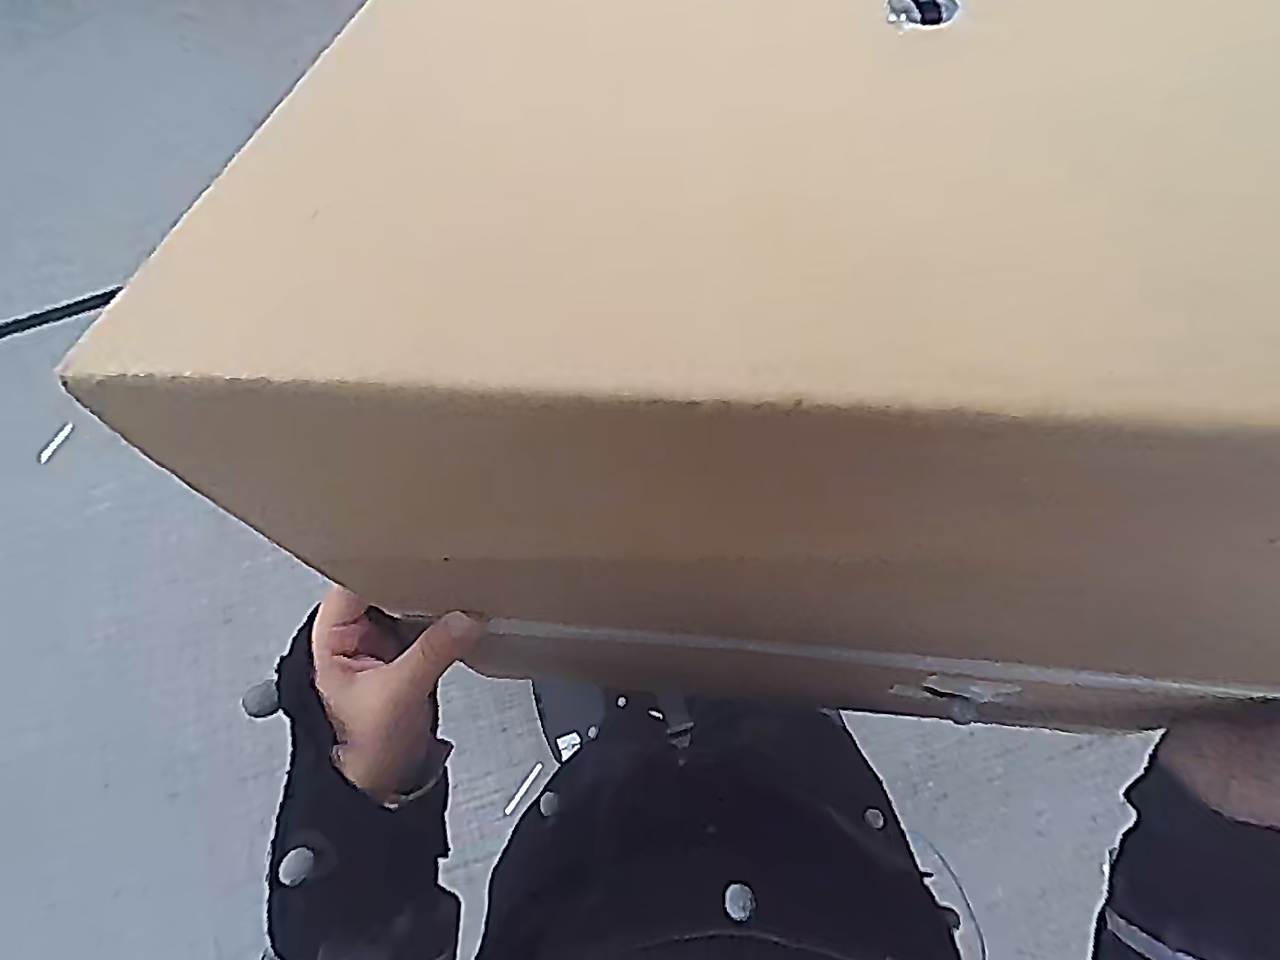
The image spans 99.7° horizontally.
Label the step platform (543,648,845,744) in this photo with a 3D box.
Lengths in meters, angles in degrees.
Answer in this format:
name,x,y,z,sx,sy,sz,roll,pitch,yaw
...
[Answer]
name,x,y,z,sx,sy,sz,roll,pitch,yaw
step platform,0.117,0.400,1.277,0.684,0.204,0.286,-12,78,-1
